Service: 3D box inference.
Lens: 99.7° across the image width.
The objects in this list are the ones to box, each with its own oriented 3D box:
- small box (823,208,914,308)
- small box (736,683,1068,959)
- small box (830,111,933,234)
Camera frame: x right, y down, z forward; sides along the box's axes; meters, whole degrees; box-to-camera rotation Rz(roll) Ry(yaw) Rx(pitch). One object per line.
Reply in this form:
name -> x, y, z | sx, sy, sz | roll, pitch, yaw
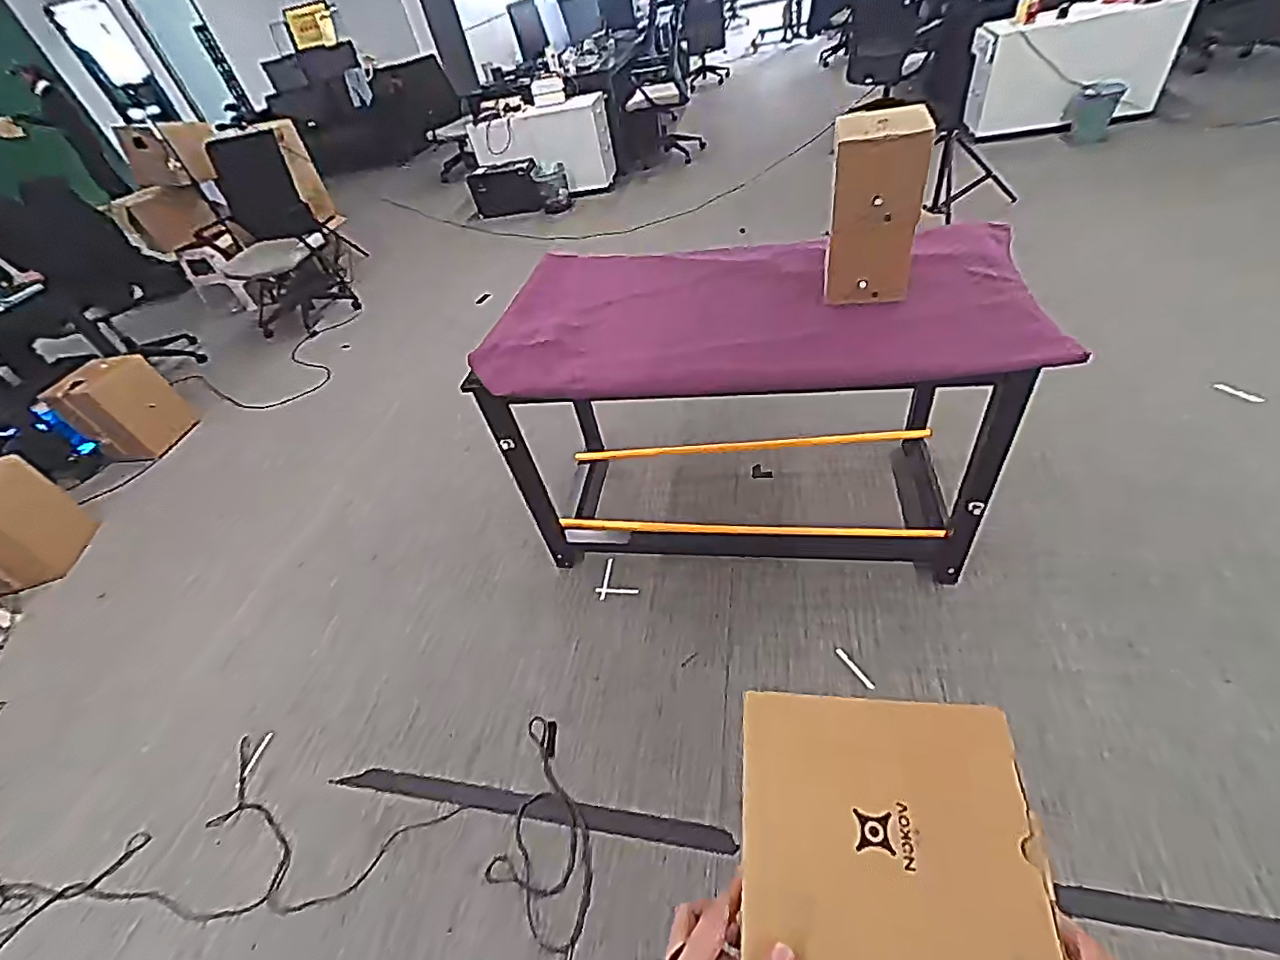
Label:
small box -> 0.502, -0.504, 1.210 | 0.168, 0.176, 0.179 | 2, 47, 16
small box -> 0.170, 0.264, 0.401 | 0.179, 0.176, 0.168 | -2, 52, 15
small box -> 0.477, -0.619, 1.095 | 0.168, 0.176, 0.179 | 2, 46, 17
